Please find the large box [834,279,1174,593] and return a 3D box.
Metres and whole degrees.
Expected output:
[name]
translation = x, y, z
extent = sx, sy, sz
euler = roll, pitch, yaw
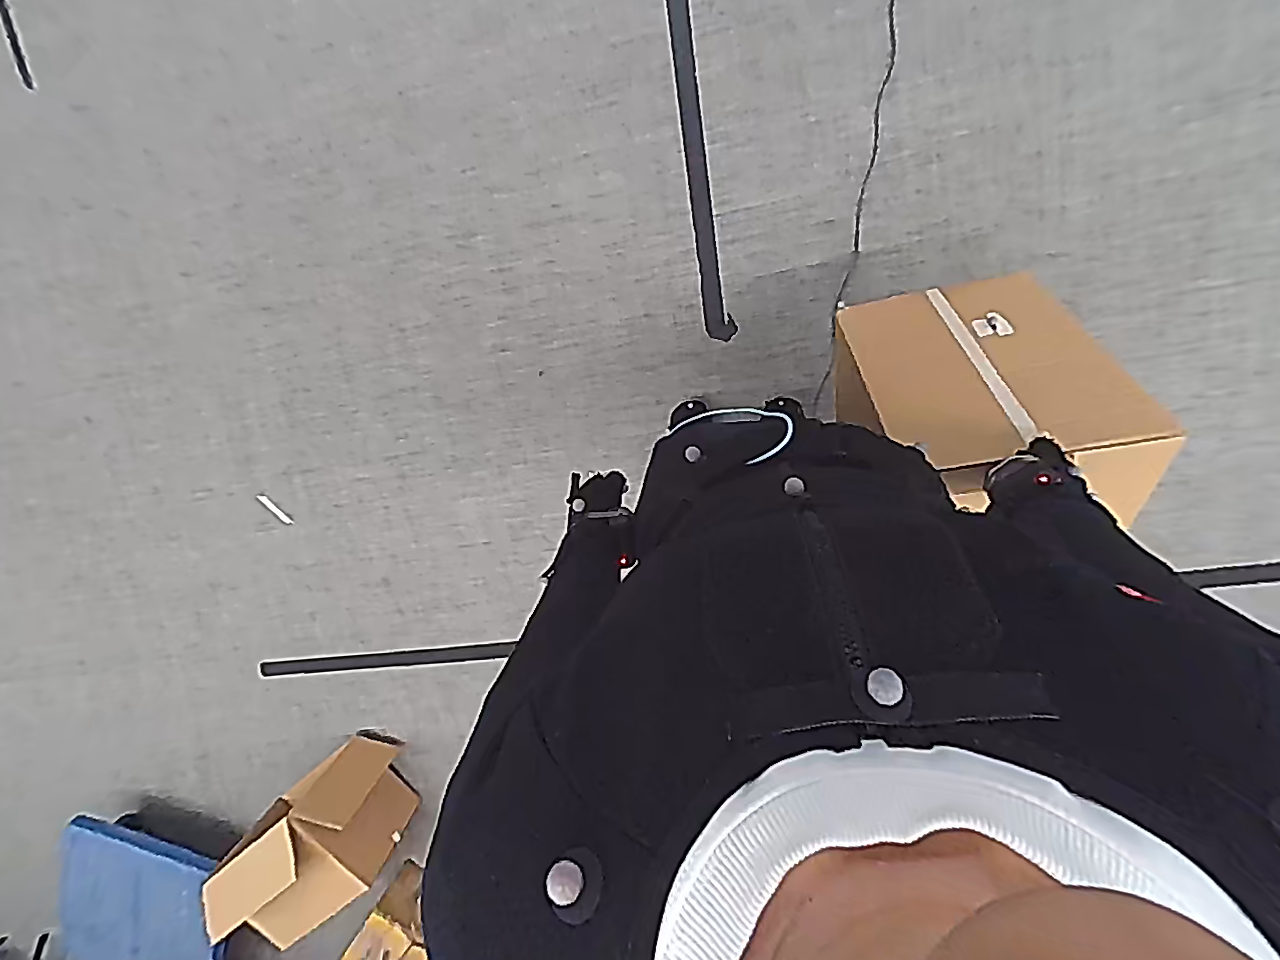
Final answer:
[large box]
translation = 0.532, -0.073, 0.911
extent = 0.320, 0.408, 0.320
euler = -9, 135, 10
